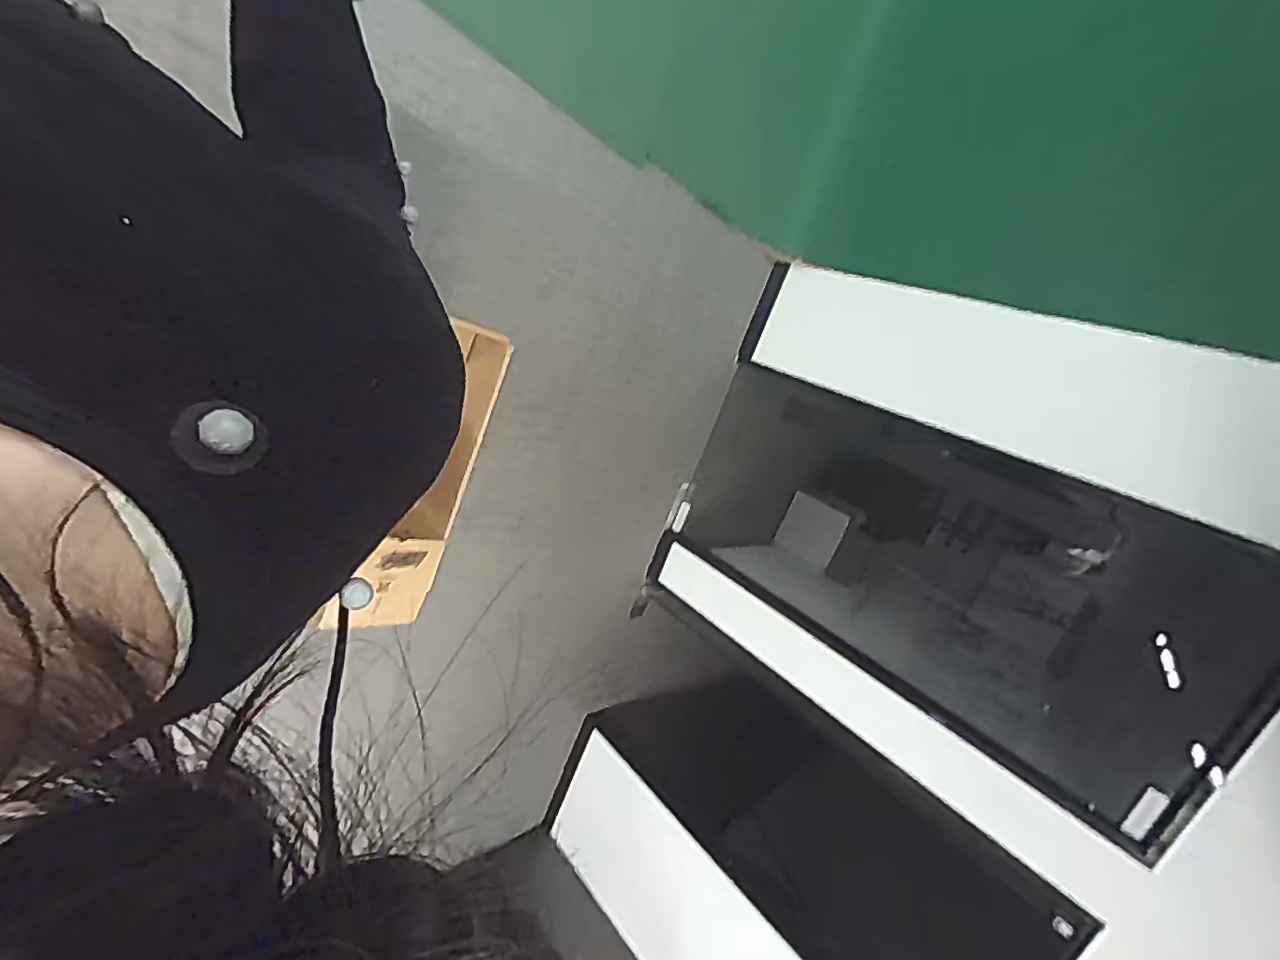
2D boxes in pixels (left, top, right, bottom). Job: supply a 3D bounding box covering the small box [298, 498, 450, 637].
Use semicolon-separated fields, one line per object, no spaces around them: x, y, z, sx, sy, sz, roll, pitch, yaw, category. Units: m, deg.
-0.471;0.149;0.948;0.168;0.176;0.179;14;105;-50;small box
